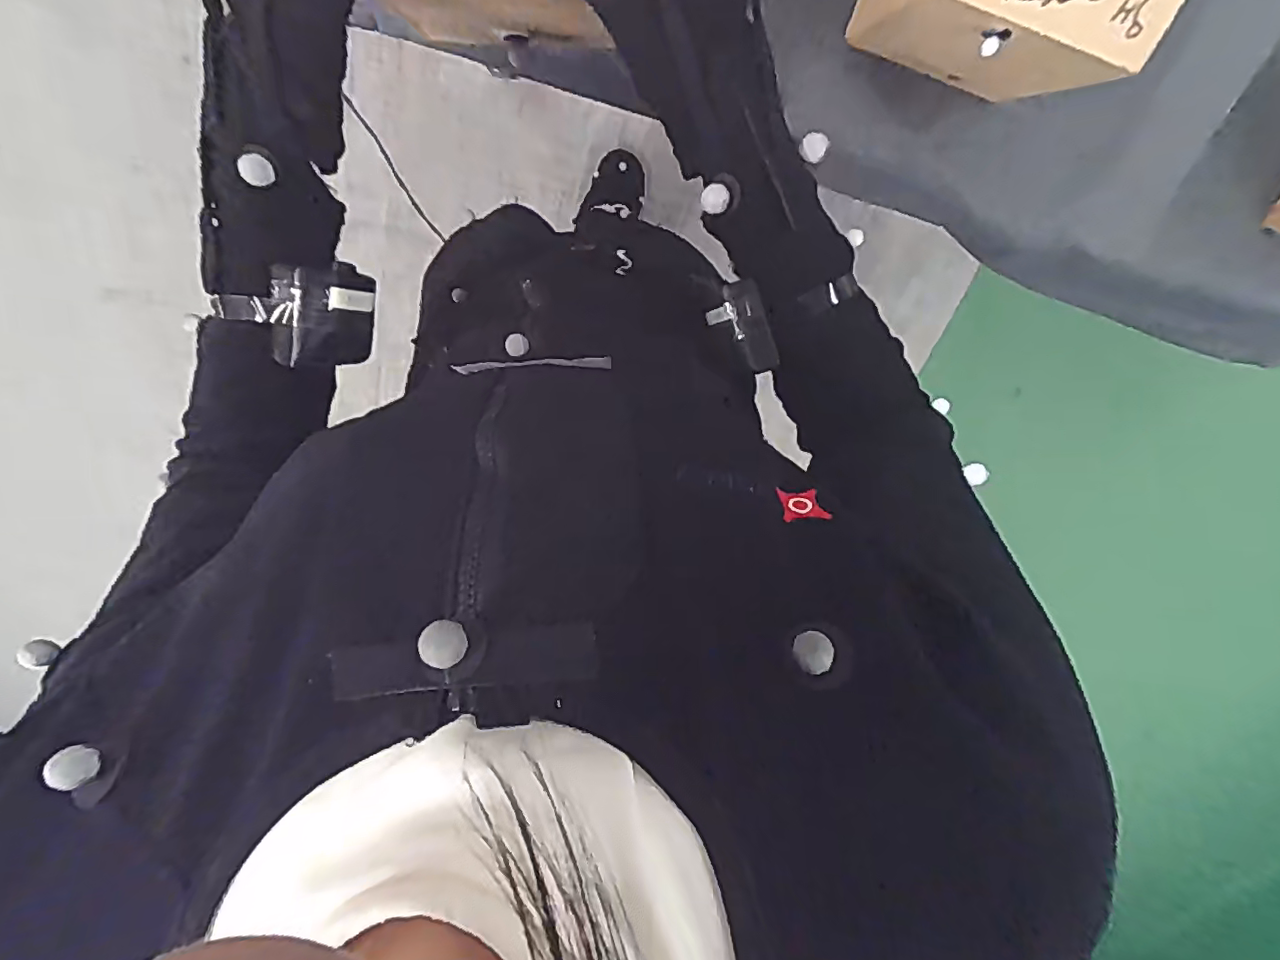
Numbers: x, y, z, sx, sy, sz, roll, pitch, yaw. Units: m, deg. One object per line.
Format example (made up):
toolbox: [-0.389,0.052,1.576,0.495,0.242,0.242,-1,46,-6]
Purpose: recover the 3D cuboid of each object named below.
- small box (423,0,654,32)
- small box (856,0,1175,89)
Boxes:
small box: [-0.070,-0.381,0.301,0.168,0.176,0.179,-2,121,-3]
small box: [0.286,-0.419,0.391,0.168,0.176,0.179,13,118,-8]
